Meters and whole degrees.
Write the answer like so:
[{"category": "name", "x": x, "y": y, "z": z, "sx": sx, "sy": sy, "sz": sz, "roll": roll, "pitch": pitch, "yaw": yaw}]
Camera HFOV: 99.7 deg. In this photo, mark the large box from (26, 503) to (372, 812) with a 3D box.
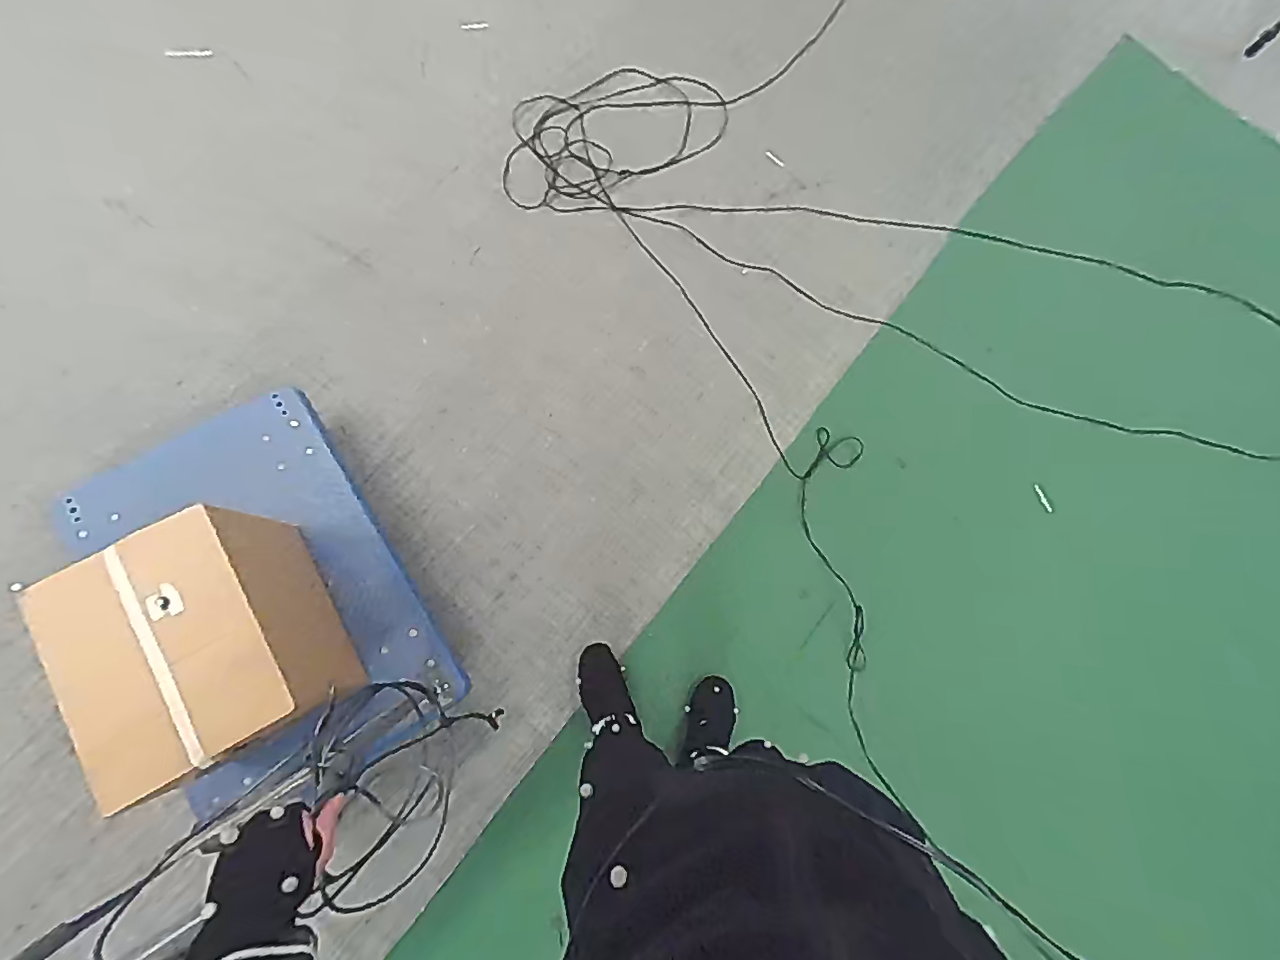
[{"category": "large box", "x": -0.796, "y": 0.310, "z": 1.034, "sx": 0.320, "sy": 0.320, "sz": 0.408, "roll": -29, "pitch": 81, "yaw": -11}]
